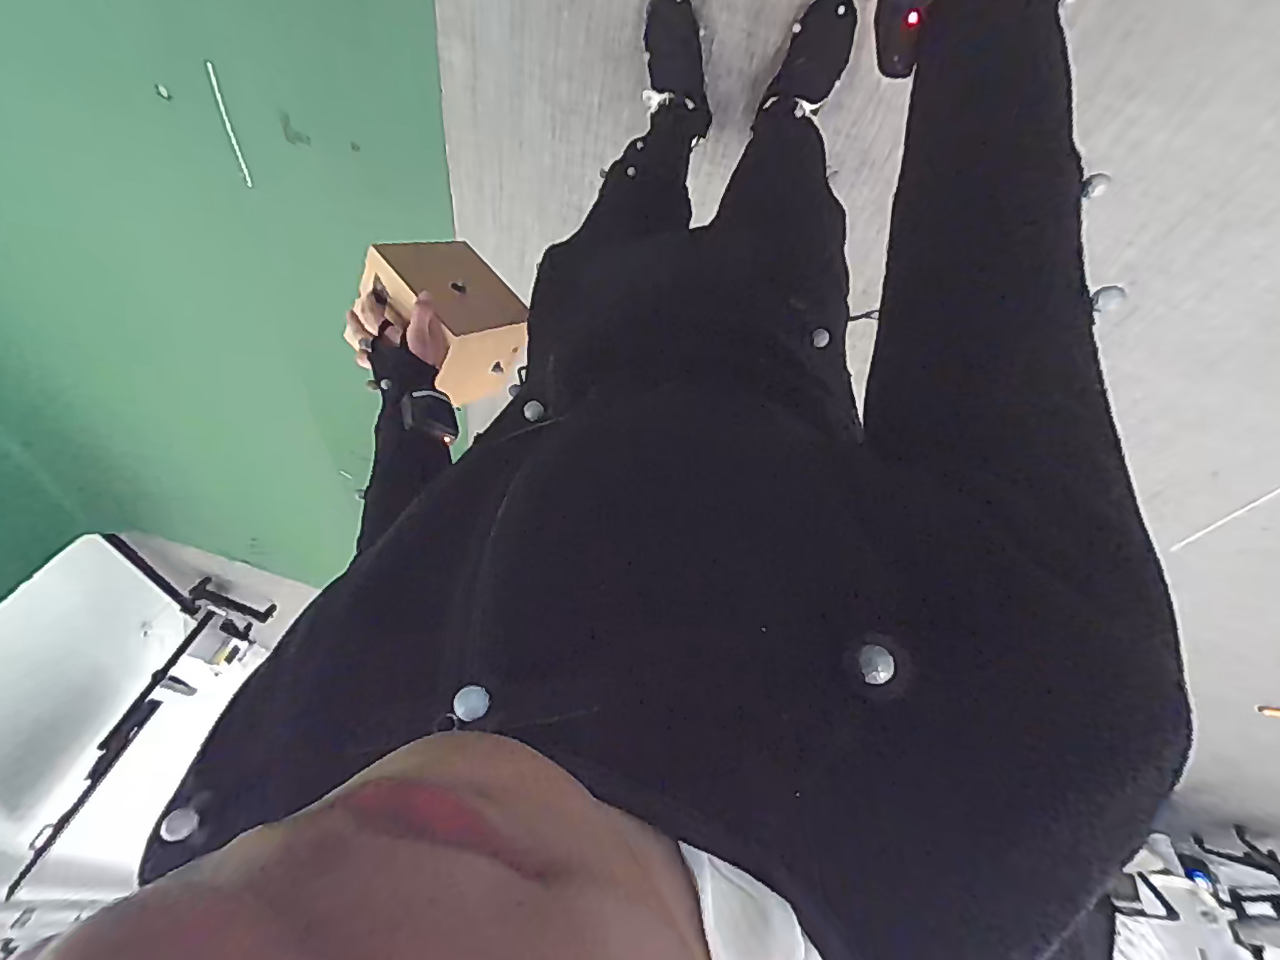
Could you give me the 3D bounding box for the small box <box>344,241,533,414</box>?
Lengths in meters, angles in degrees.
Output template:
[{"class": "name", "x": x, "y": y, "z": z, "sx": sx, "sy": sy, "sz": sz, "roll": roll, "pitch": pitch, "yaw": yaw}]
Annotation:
[{"class": "small box", "x": -0.298, "y": -0.231, "z": 0.808, "sx": 0.179, "sy": 0.176, "sz": 0.168, "roll": 46, "pitch": 128, "yaw": 4}]
